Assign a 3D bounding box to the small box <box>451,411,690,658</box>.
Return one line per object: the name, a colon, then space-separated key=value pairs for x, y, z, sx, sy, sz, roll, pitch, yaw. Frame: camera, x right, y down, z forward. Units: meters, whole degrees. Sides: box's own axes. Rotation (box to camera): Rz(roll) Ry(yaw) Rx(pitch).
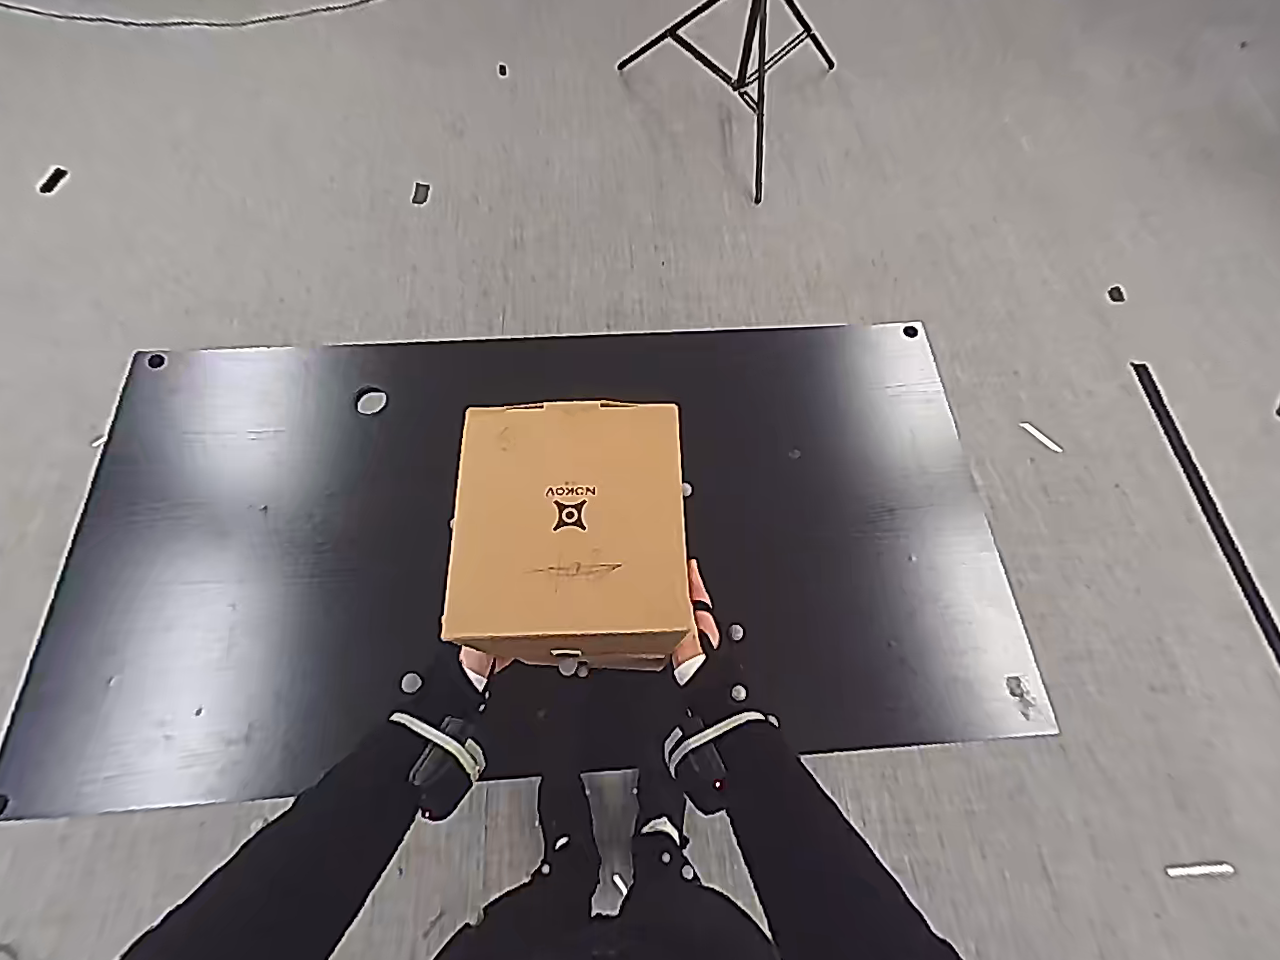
small box: x=-0.050 y=0.056 z=0.472 sx=0.168 sy=0.176 sz=0.179 roll=-2 pitch=68 yaw=-1
